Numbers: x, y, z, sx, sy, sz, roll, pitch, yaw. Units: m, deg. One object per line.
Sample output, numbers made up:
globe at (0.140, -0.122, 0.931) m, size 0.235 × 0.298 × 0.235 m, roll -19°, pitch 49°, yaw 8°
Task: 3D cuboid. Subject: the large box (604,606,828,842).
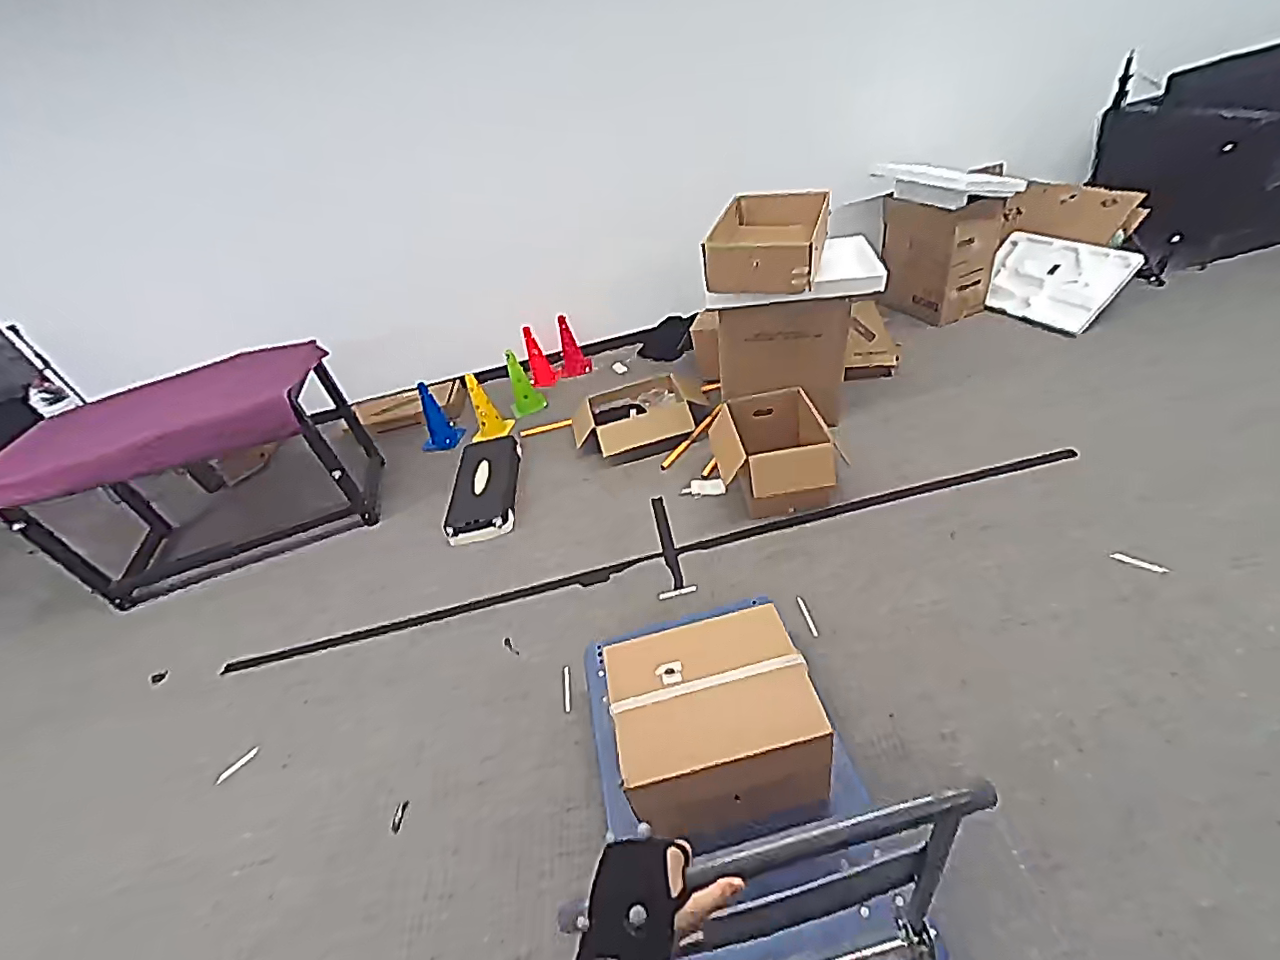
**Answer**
large box at (0.166, 0.545, 1.217) m, size 0.408 × 0.320 × 0.320 m, roll -16°, pitch 37°, yaw -1°
